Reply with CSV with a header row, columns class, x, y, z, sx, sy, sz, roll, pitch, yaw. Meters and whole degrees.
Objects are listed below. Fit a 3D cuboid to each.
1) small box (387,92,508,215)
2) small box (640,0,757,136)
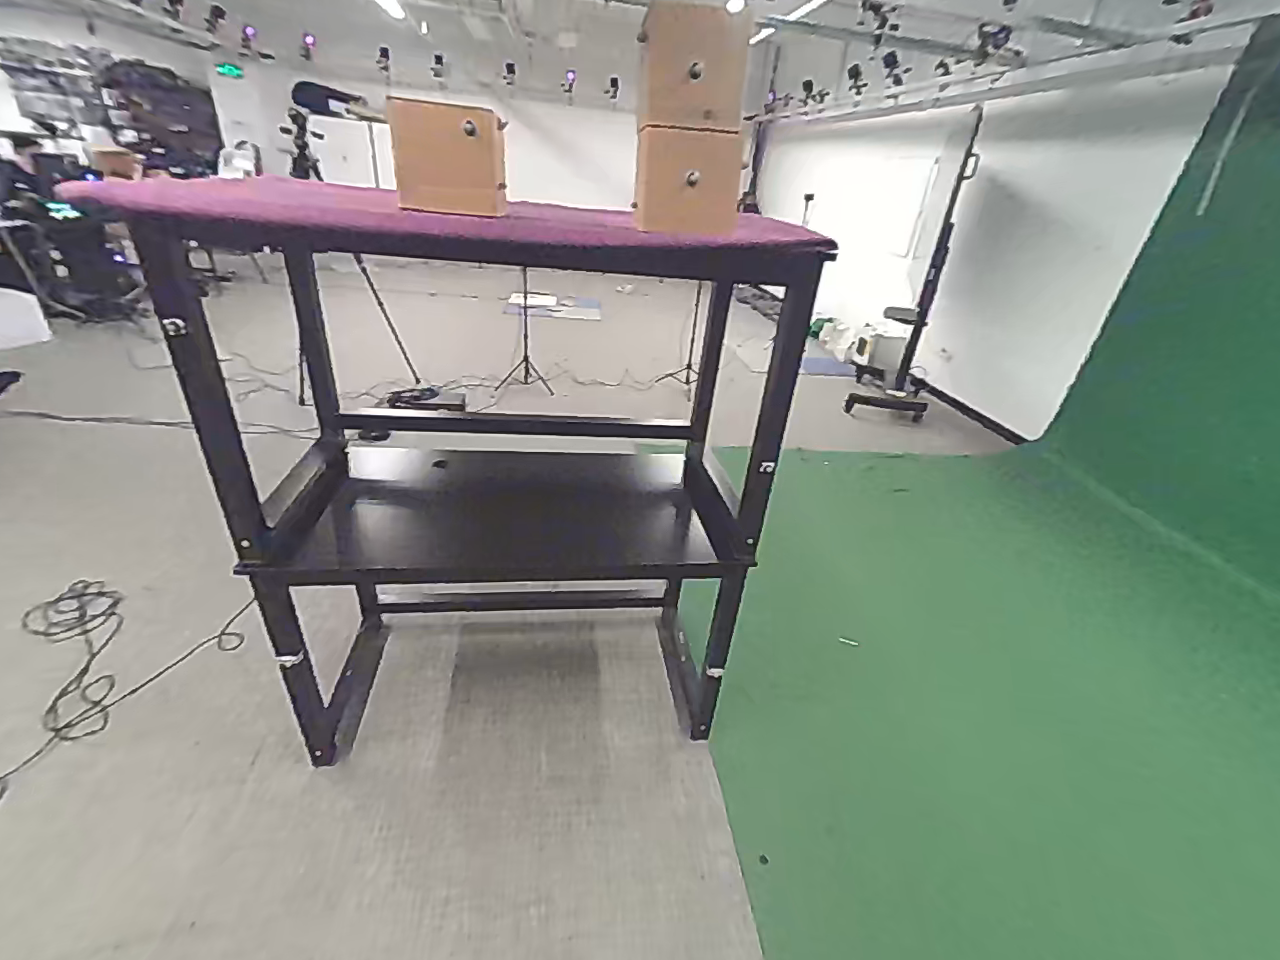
class,x,y,z,sx,sy,sz,roll,pitch,yaw
small box,-0.341,-0.588,0.993,0.179,0.176,0.168,2,28,-8
small box,0.092,-0.709,0.947,0.168,0.176,0.179,0,28,-7
